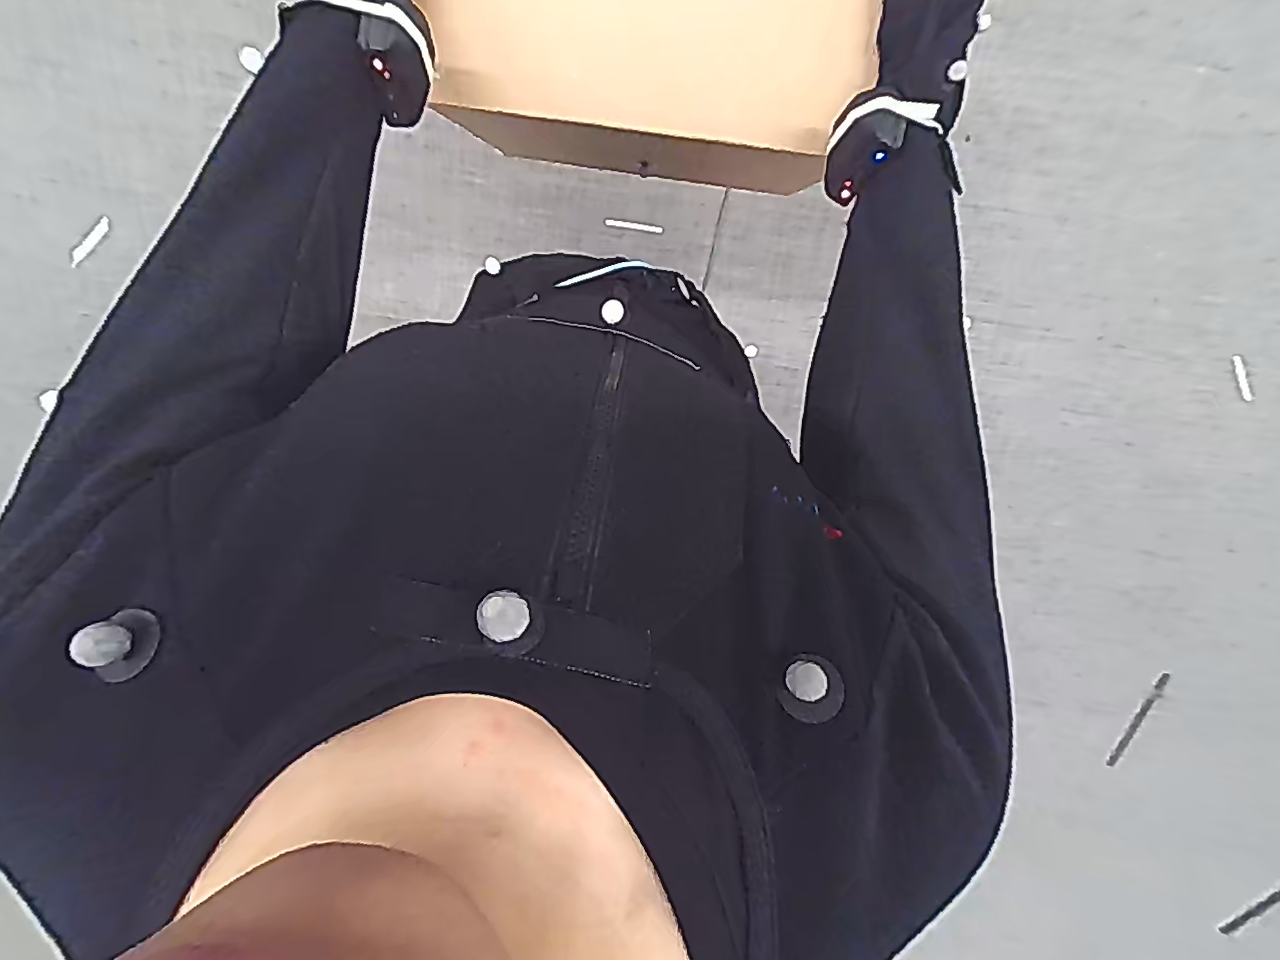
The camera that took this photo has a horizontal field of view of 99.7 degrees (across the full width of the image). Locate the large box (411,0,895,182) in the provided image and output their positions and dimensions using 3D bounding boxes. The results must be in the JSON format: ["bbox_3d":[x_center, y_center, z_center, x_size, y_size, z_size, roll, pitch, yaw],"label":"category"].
[{"bbox_3d":[0.025,-0.514,0.554,0.408,0.320,0.320,8,112,0],"label":"large box"}]
